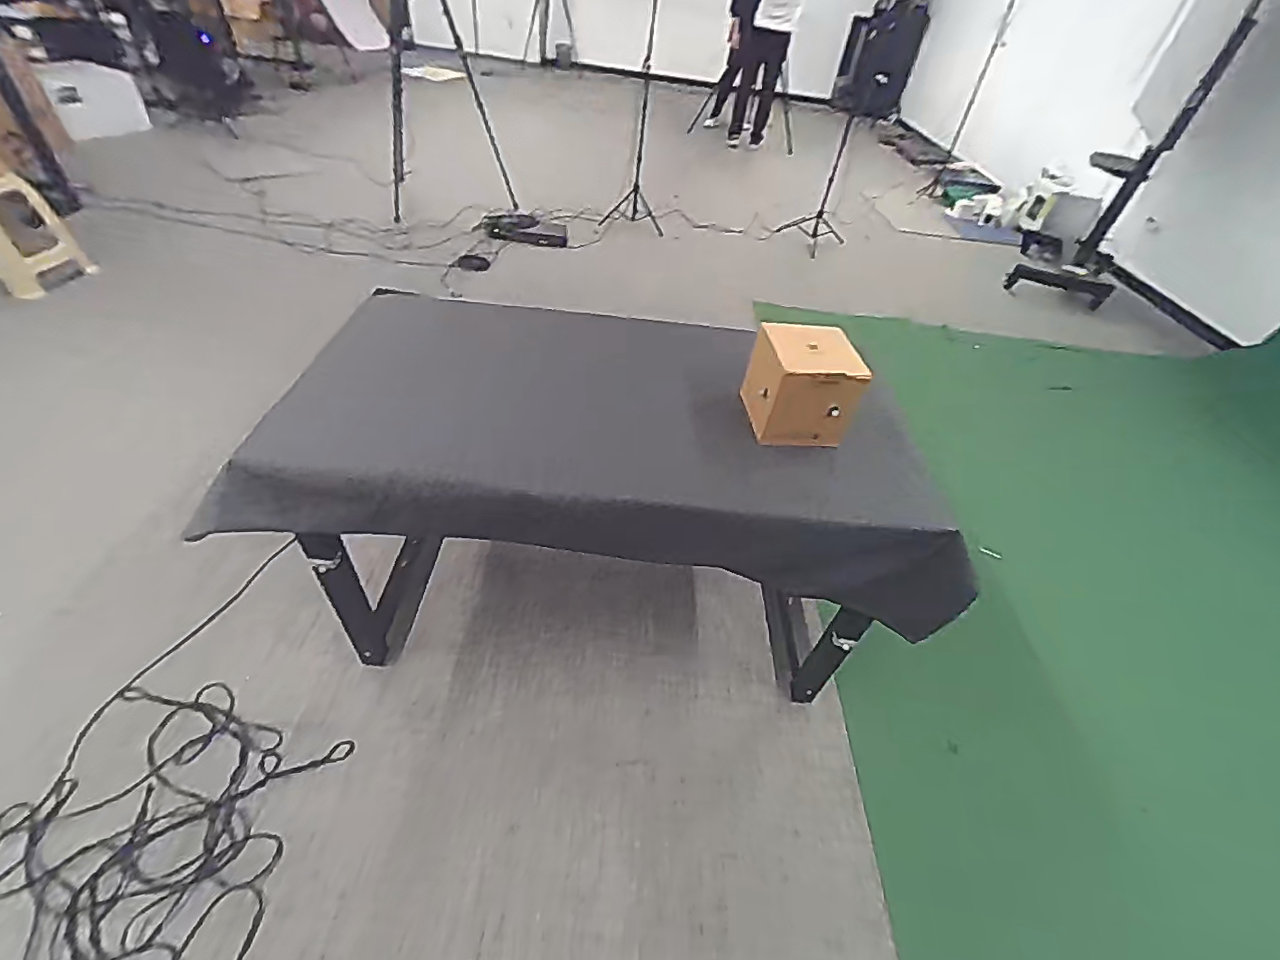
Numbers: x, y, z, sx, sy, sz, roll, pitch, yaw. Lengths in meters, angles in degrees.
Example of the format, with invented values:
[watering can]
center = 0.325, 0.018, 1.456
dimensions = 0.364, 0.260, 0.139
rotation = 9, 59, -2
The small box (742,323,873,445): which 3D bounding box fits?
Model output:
[small box]
center = 0.311, -0.182, 1.044
dimensions = 0.168, 0.176, 0.179
rotation = 2, 43, -9
